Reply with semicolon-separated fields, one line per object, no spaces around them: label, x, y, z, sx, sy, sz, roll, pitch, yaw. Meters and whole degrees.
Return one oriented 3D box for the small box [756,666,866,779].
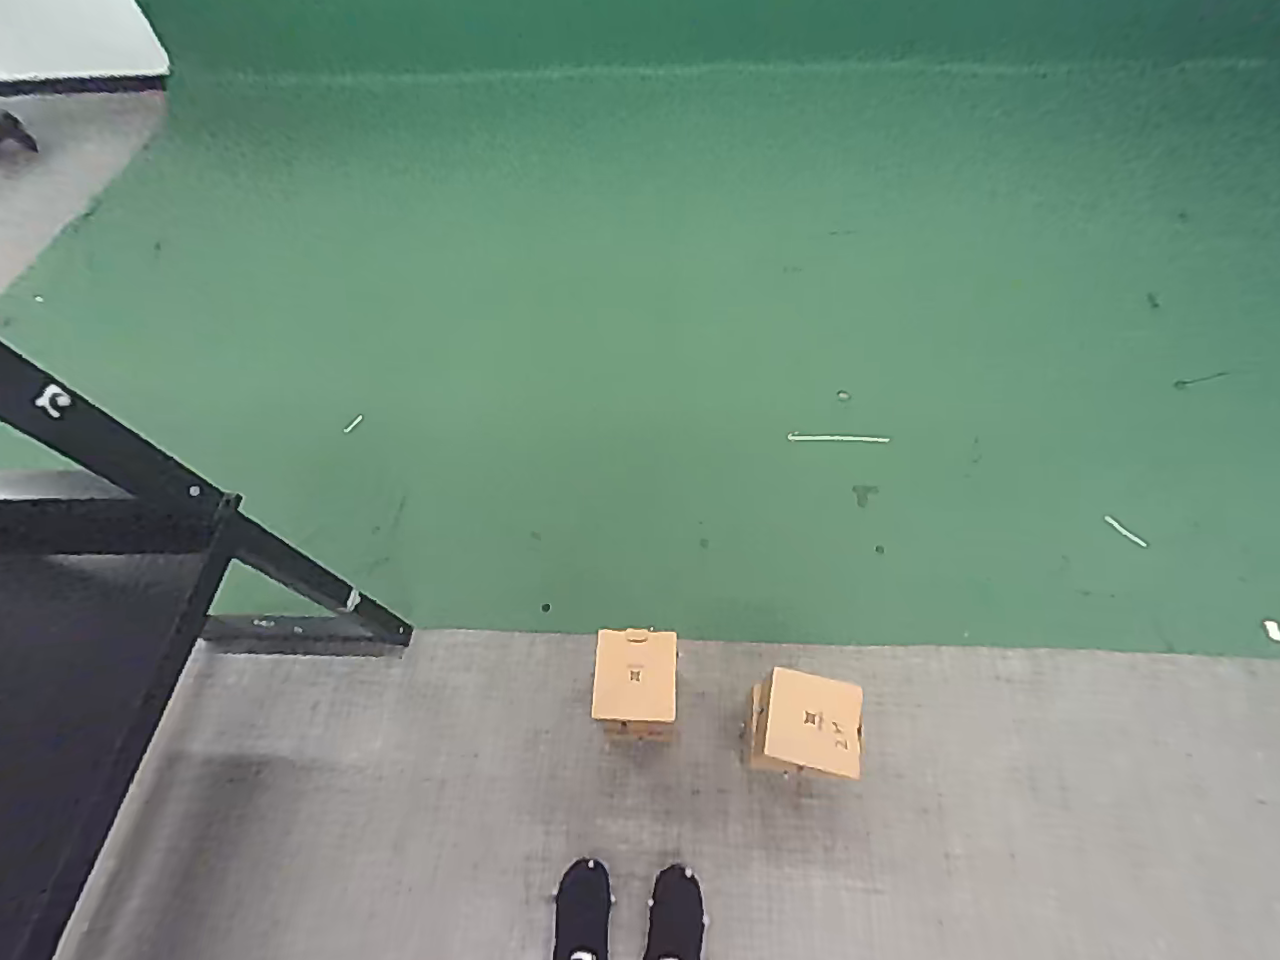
small box;0.335;0.489;1.081;0.179;0.176;0.168;11;62;9

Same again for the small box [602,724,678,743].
small box;0.006;0.518;1.274;0.168;0.176;0.179;-1;59;3

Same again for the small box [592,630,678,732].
small box;-0.003;0.428;1.140;0.168;0.176;0.179;0;58;4
